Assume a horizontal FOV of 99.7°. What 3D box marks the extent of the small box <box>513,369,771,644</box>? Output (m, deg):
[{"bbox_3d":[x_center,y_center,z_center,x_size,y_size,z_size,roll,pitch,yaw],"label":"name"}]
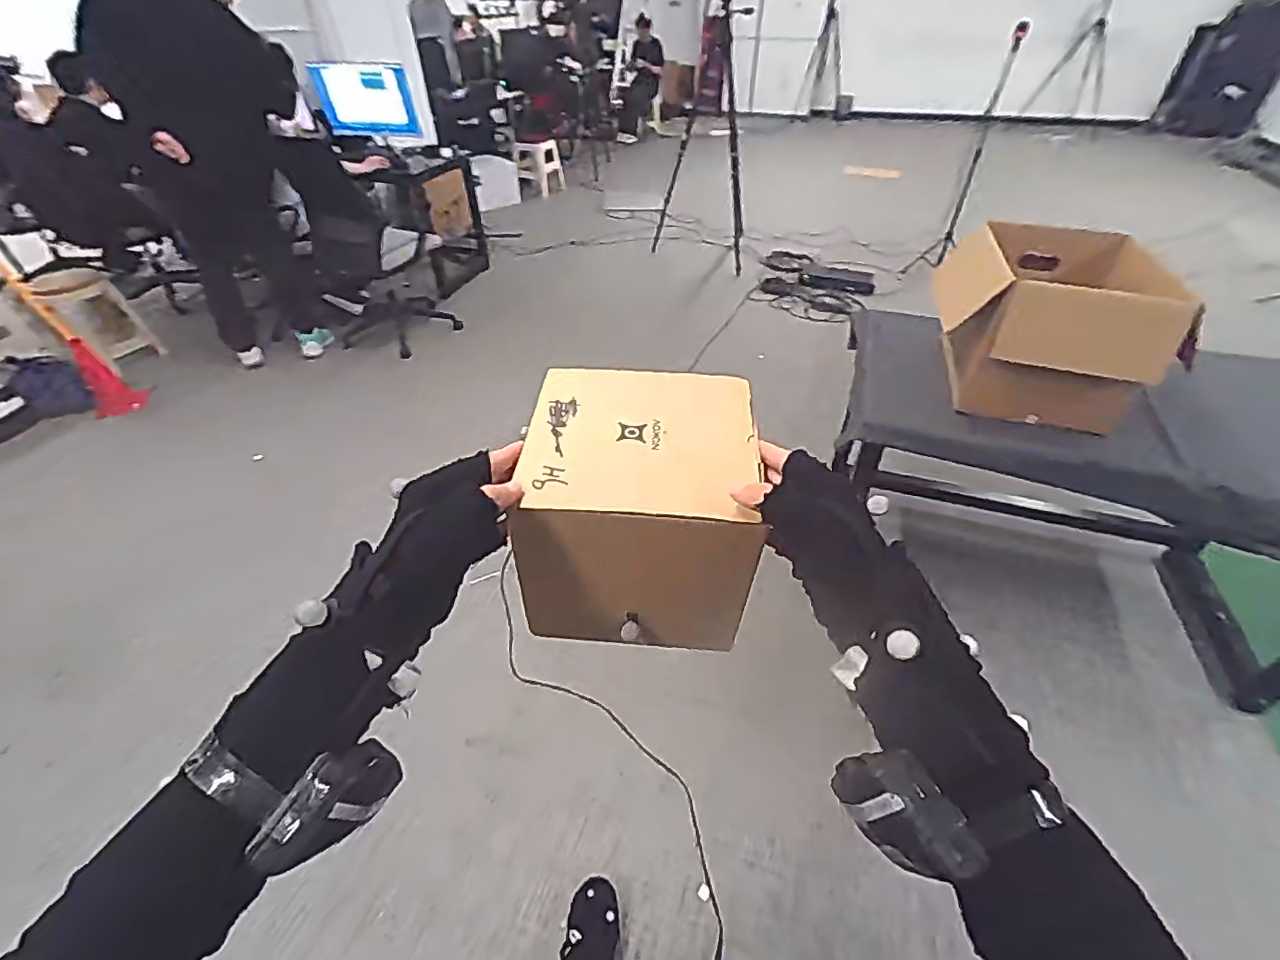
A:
[{"bbox_3d":[0.003,0.026,0.471,0.179,0.176,0.168,5,44,1],"label":"small box"}]
